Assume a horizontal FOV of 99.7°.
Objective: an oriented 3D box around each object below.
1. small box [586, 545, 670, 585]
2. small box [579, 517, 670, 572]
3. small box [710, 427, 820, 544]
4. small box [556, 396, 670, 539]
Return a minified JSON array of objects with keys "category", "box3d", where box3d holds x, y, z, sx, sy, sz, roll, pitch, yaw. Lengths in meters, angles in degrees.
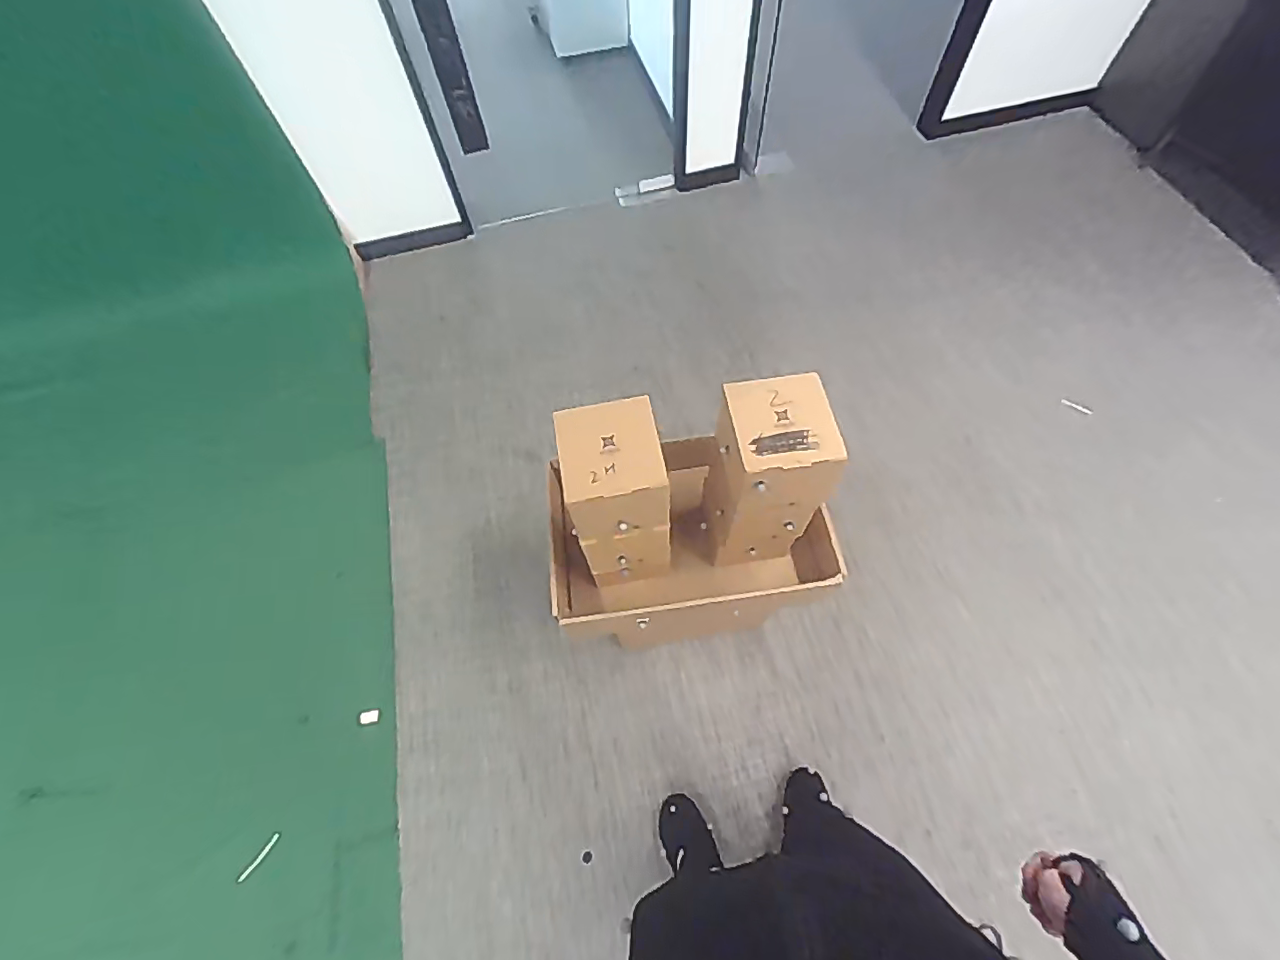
[{"category":"small box","box3d":[-0.031,0.128,1.223,0.179,0.176,0.168,-10,63,-2]},{"category":"small box","box3d":[-0.039,0.064,1.074,0.168,0.176,0.179,-10,63,-3]},{"category":"small box","box3d":[0.240,0.020,1.082,0.168,0.176,0.179,-7,61,-2]},{"category":"small box","box3d":[-0.046,-0.017,0.932,0.168,0.176,0.179,-10,63,-2]}]
